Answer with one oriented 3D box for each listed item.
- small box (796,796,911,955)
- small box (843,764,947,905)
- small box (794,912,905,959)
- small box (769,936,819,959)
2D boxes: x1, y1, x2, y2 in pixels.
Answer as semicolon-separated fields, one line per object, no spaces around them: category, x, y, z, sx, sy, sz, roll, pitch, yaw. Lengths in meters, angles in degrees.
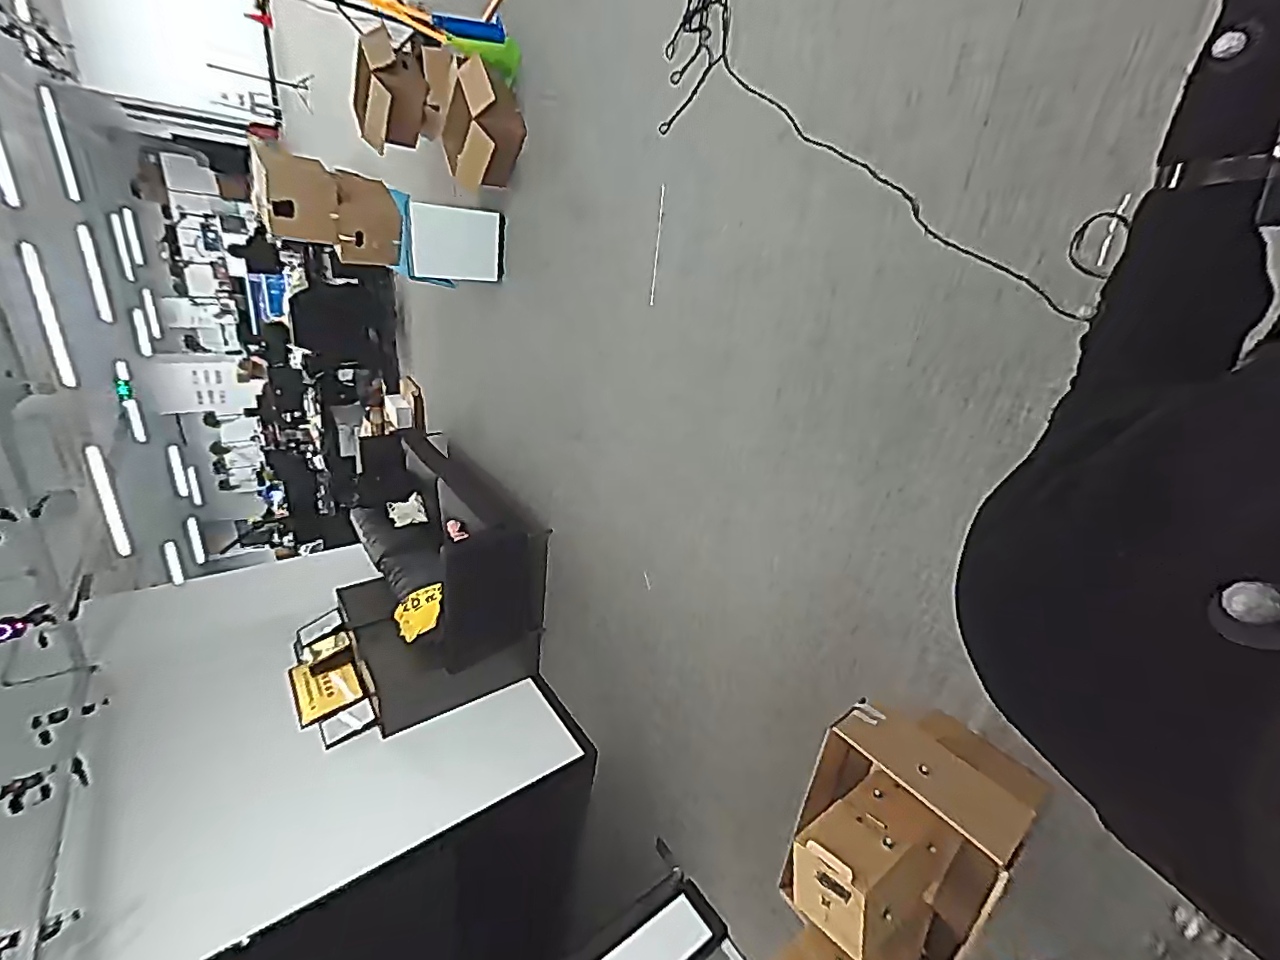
small box;0.452;0.821;1.146;0.168;0.176;0.179;14;111;52
small box;0.583;0.798;1.242;0.168;0.176;0.179;14;110;52
small box;0.456;1.085;1.210;0.179;0.176;0.168;24;118;47
small box;0.322;1.119;1.119;0.168;0.176;0.179;27;119;45
